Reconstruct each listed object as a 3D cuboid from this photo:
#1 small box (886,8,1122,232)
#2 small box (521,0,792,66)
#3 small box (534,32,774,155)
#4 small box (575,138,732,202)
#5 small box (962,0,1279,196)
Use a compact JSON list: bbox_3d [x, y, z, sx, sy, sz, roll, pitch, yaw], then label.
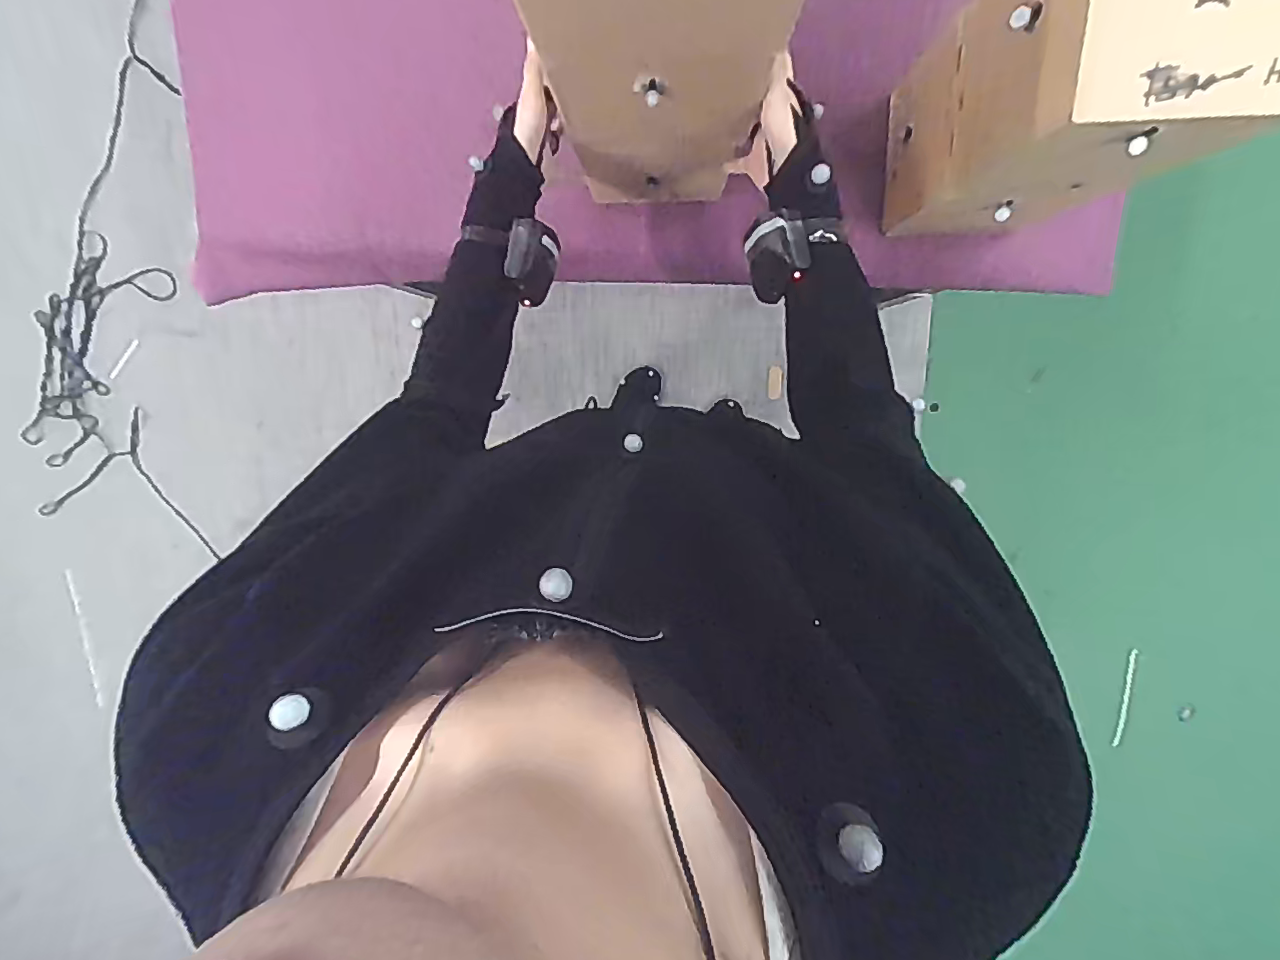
[{"bbox_3d":[0.398,-0.384,0.600,0.179,0.176,0.168,-1,102,5],"label":"small box"},{"bbox_3d":[0.008,-0.362,0.296,0.179,0.176,0.168,-1,102,4],"label":"small box"},{"bbox_3d":[0.015,-0.395,0.456,0.179,0.176,0.168,0,101,4],"label":"small box"},{"bbox_3d":[0.021,-0.430,0.615,0.168,0.176,0.179,0,100,4],"label":"small box"},{"bbox_3d":[0.389,-0.353,0.438,0.168,0.176,0.179,0,101,6],"label":"small box"}]
